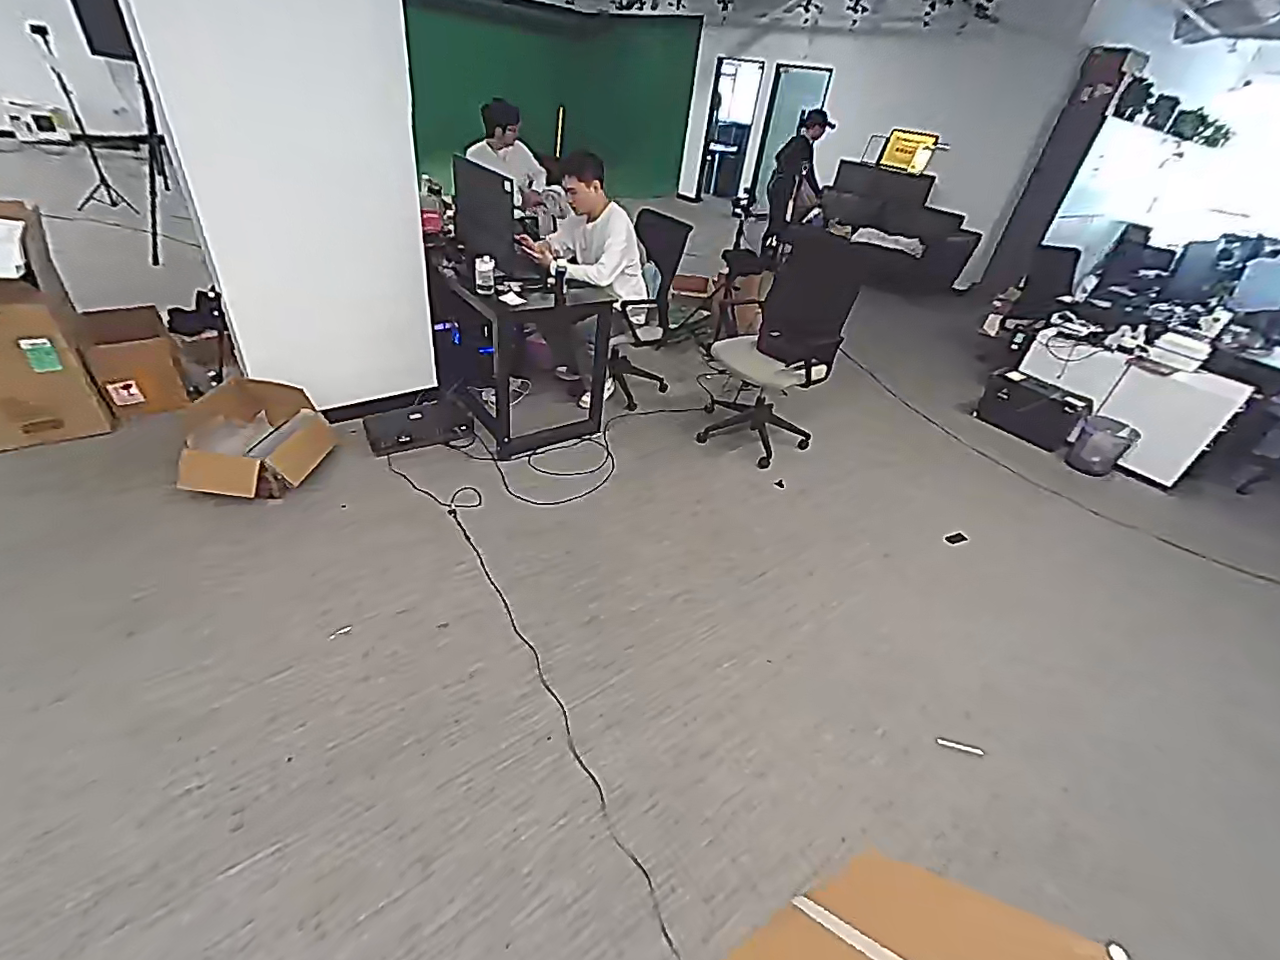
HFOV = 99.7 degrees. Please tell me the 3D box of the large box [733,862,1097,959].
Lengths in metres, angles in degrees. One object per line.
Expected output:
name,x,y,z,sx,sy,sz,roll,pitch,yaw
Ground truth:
large box,0.367,0.747,0.638,0.320,0.408,0.320,-17,76,-22
